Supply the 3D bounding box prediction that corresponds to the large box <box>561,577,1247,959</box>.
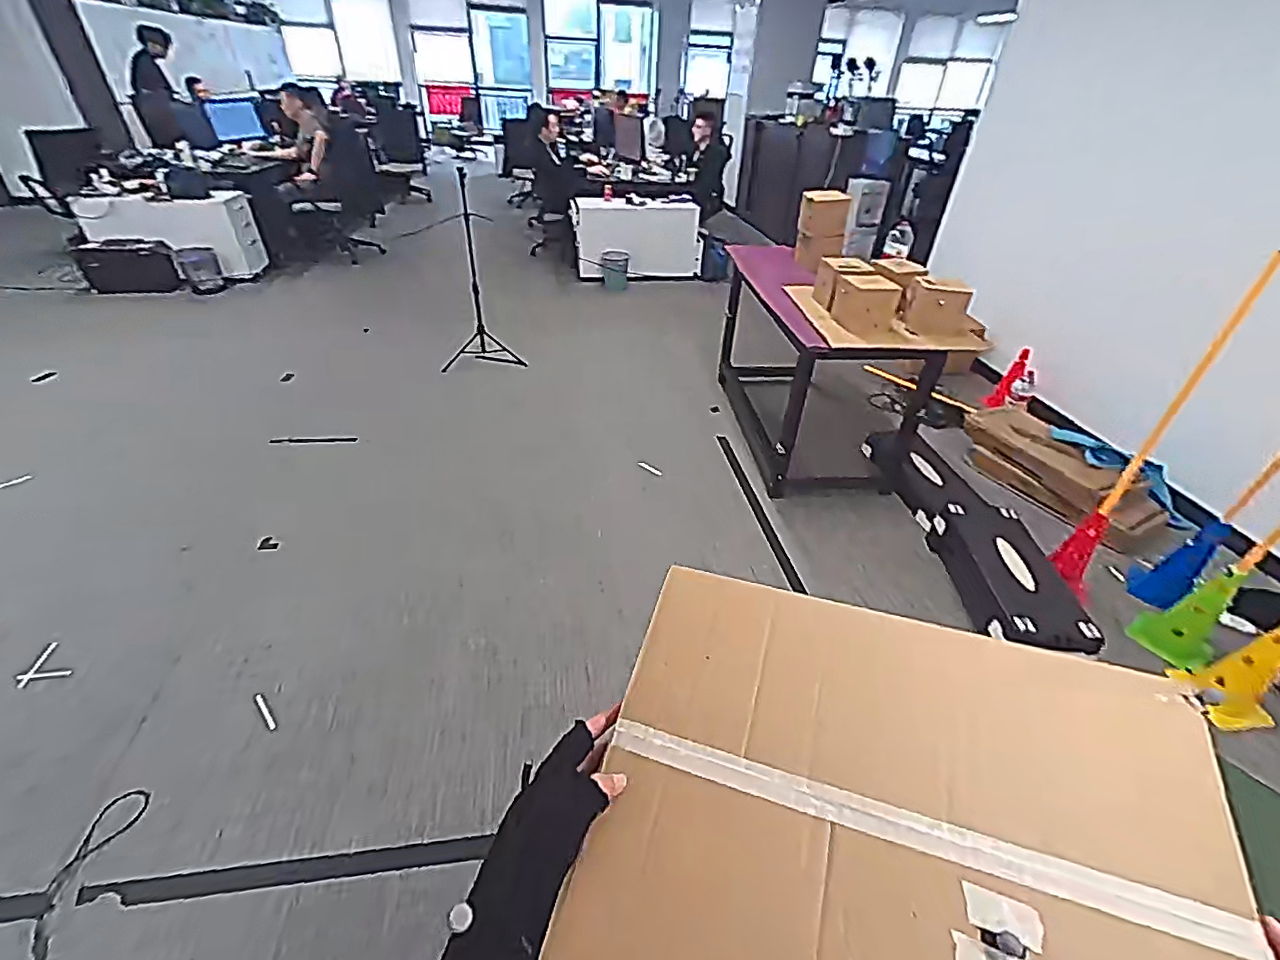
[{"bbox_3d":[0.194,0.335,0.500,0.408,0.320,0.320,11,54,17],"label":"large box"}]
